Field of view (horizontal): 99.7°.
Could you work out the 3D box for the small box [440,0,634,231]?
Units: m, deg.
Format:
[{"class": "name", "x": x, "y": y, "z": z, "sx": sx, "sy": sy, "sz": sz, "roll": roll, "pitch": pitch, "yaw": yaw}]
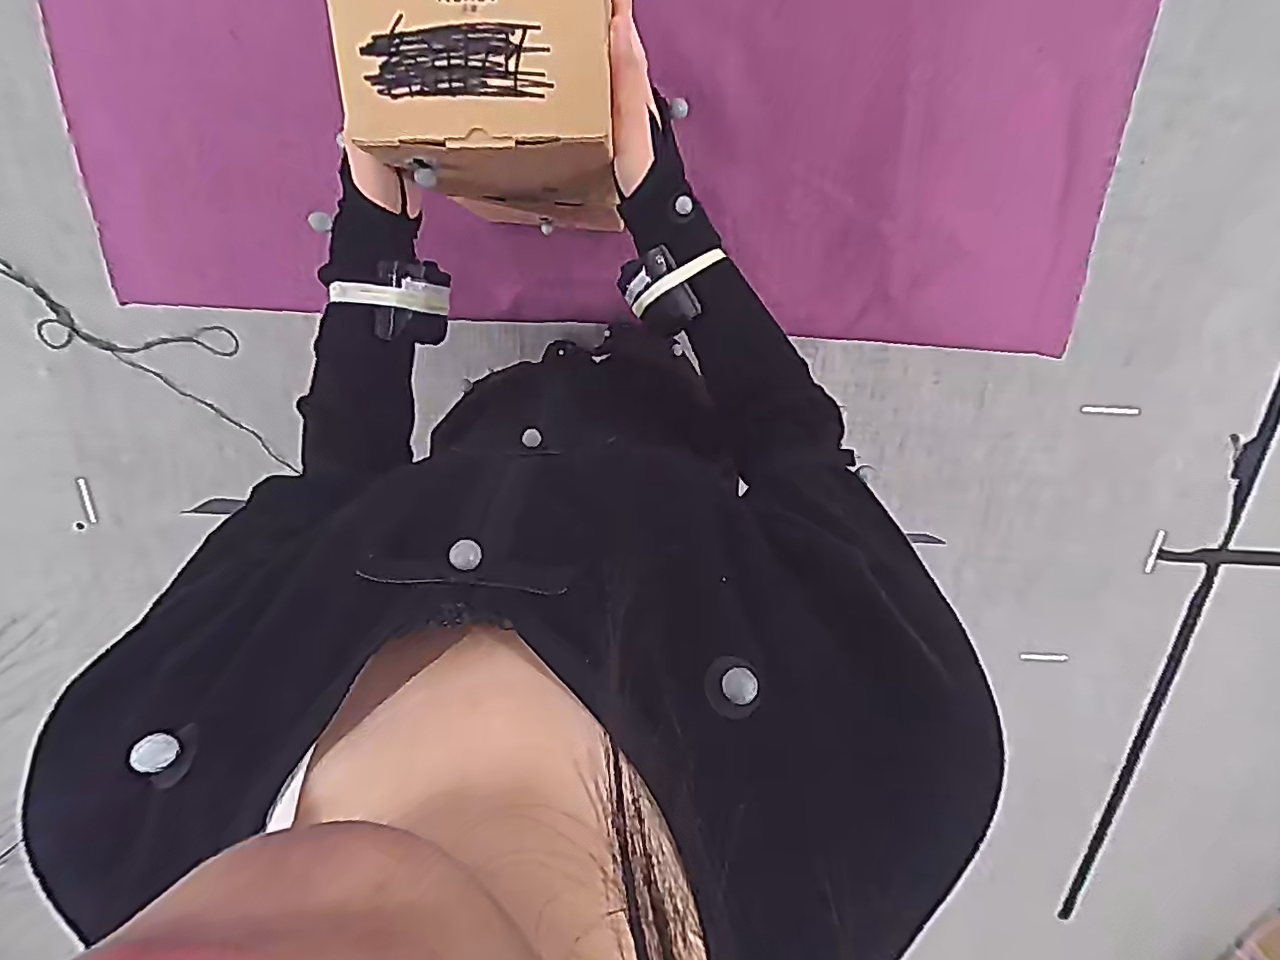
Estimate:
[{"class": "small box", "x": -0.094, "y": -0.368, "z": 0.553, "sx": 0.168, "sy": 0.176, "sz": 0.179, "roll": 4, "pitch": 108, "yaw": -1}]
